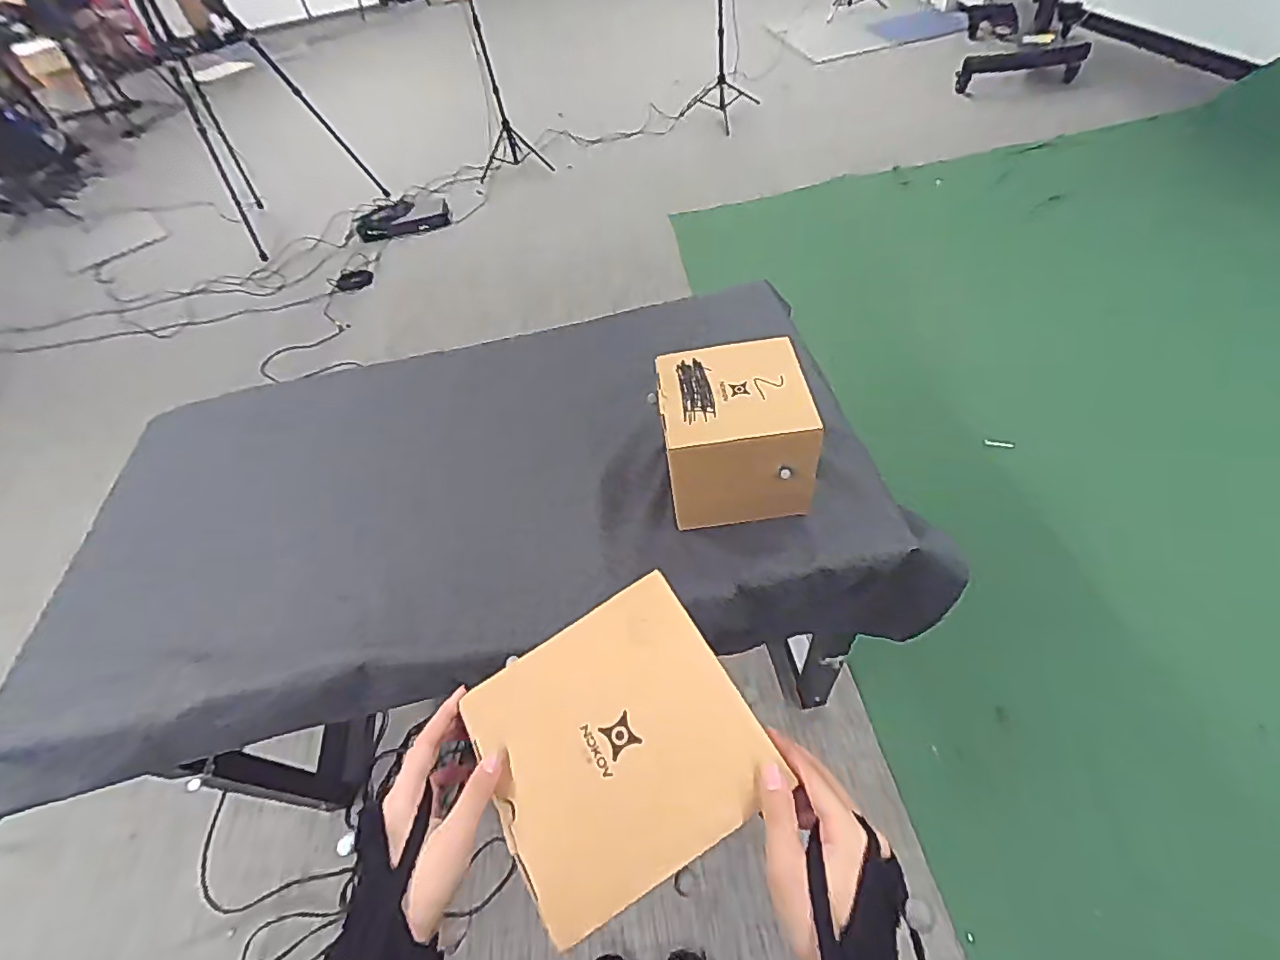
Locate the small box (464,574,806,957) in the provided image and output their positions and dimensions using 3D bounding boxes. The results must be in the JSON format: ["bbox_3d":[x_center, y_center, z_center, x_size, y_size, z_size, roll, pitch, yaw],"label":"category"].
[{"bbox_3d":[0.001,0.204,0.424,0.179,0.176,0.168,-33,63,-5],"label":"small box"}]
